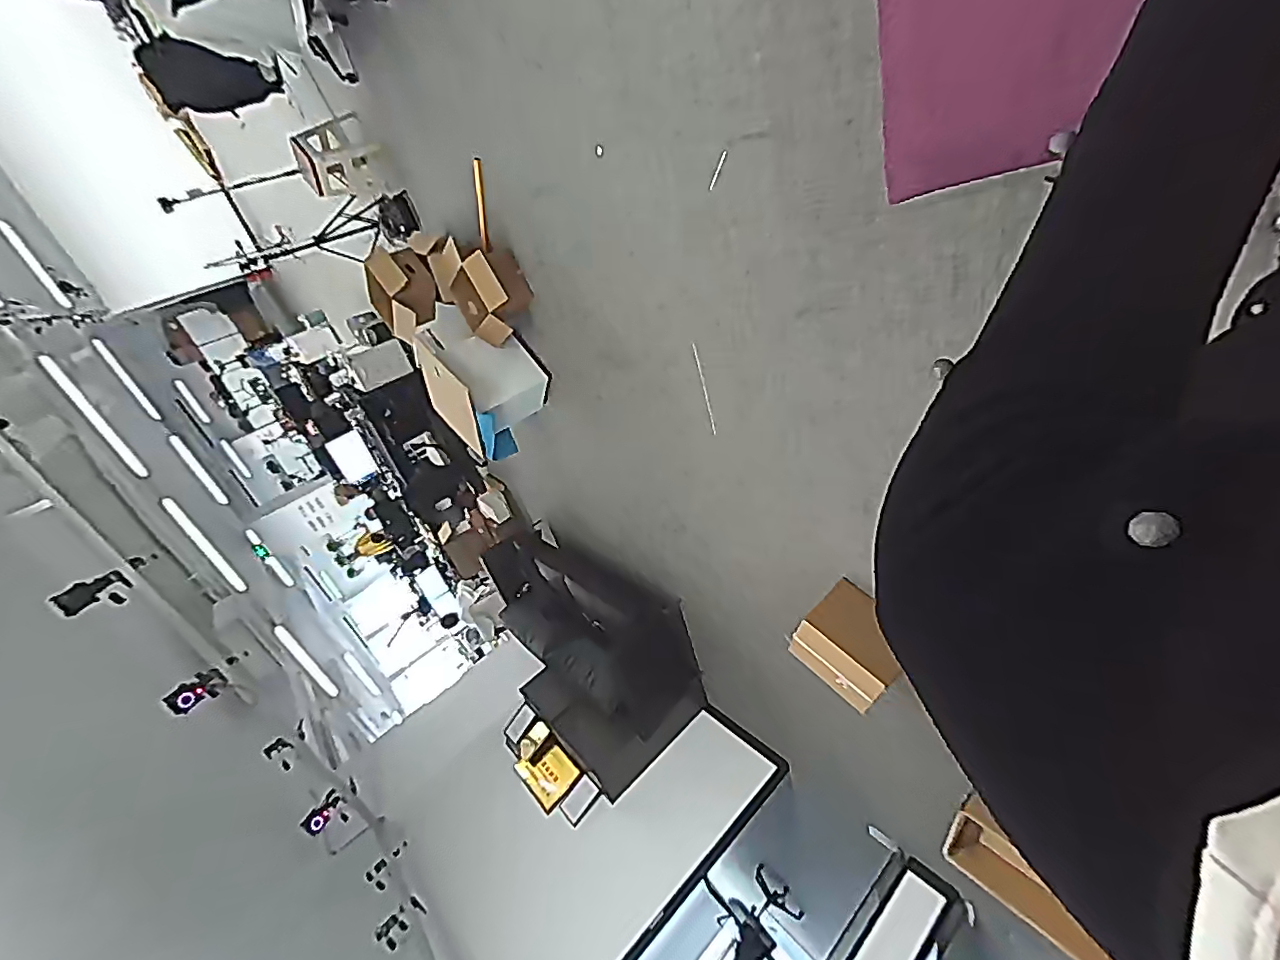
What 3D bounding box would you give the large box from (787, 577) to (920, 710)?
[{"bbox_3d":[0.929,0.713,2.392,0.408,0.320,0.320,38,148,28],"label":"large box"}]
